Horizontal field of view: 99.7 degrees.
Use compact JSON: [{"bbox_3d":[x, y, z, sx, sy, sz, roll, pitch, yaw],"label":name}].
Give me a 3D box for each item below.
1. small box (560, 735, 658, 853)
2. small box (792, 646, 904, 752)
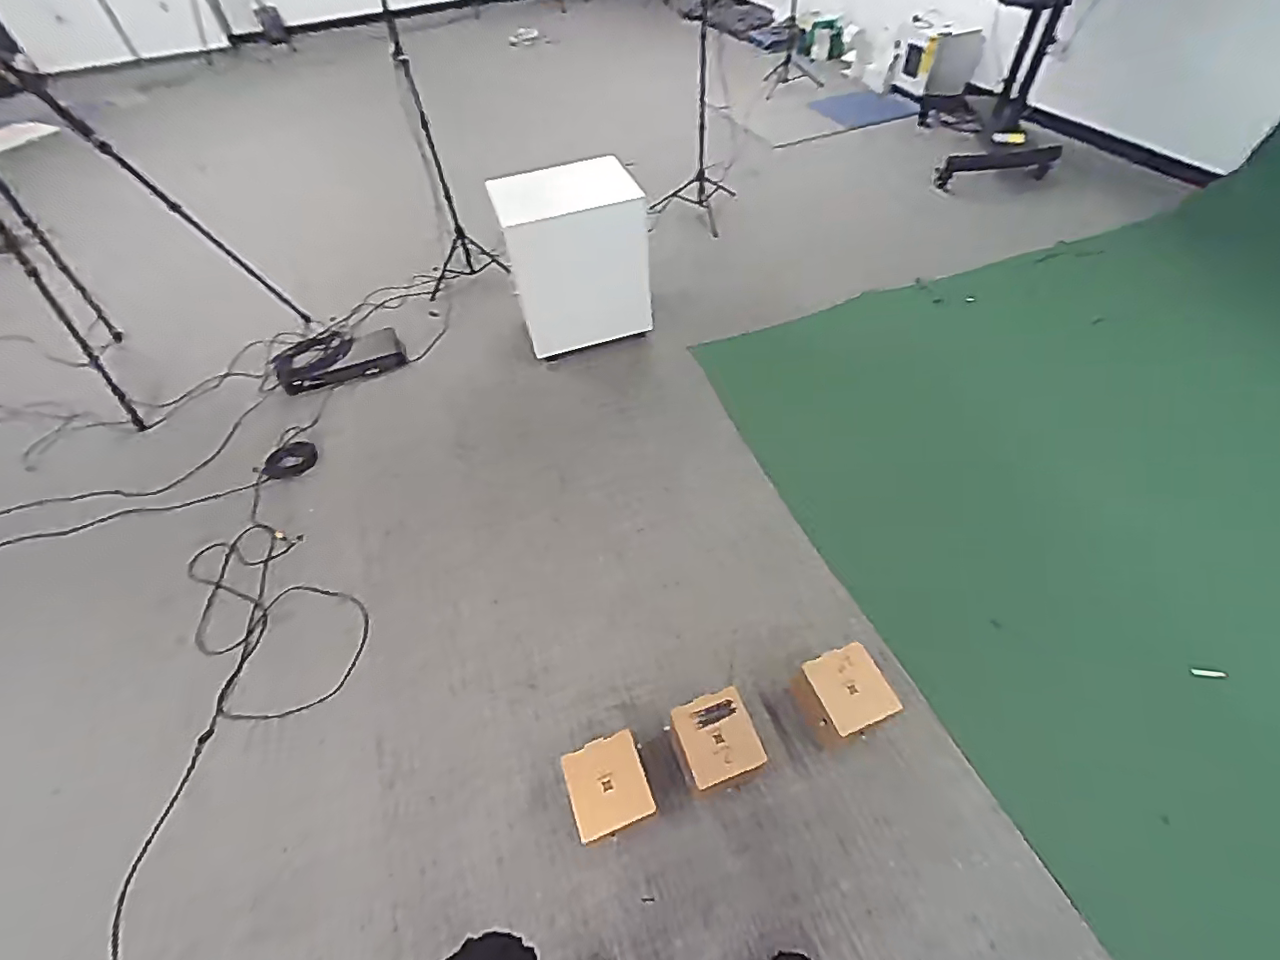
[{"bbox_3d":[-0.065,0.705,1.207,0.168,0.176,0.179,-19,52,-11],"label":"small box"},{"bbox_3d":[0.491,0.536,1.307,0.168,0.176,0.179,-18,53,-11],"label":"small box"}]
